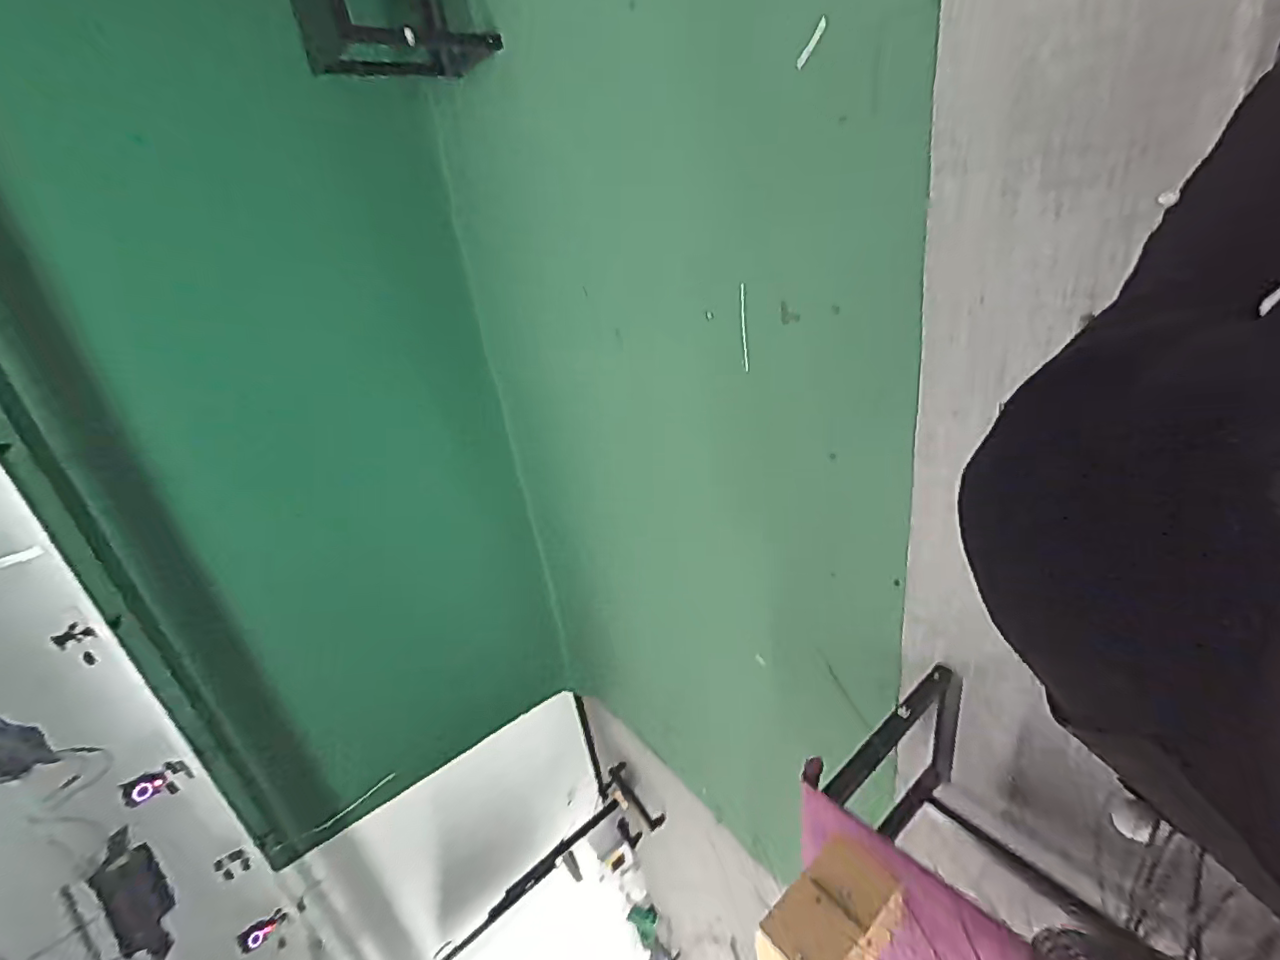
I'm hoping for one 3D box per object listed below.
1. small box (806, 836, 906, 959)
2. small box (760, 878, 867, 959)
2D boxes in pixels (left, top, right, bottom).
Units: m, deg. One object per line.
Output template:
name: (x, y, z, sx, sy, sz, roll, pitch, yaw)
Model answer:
small box: (0.518, 1.020, 1.306, 0.179, 0.176, 0.168, 20, 126, 50)
small box: (0.389, 1.060, 1.212, 0.168, 0.176, 0.179, 22, 128, 48)
